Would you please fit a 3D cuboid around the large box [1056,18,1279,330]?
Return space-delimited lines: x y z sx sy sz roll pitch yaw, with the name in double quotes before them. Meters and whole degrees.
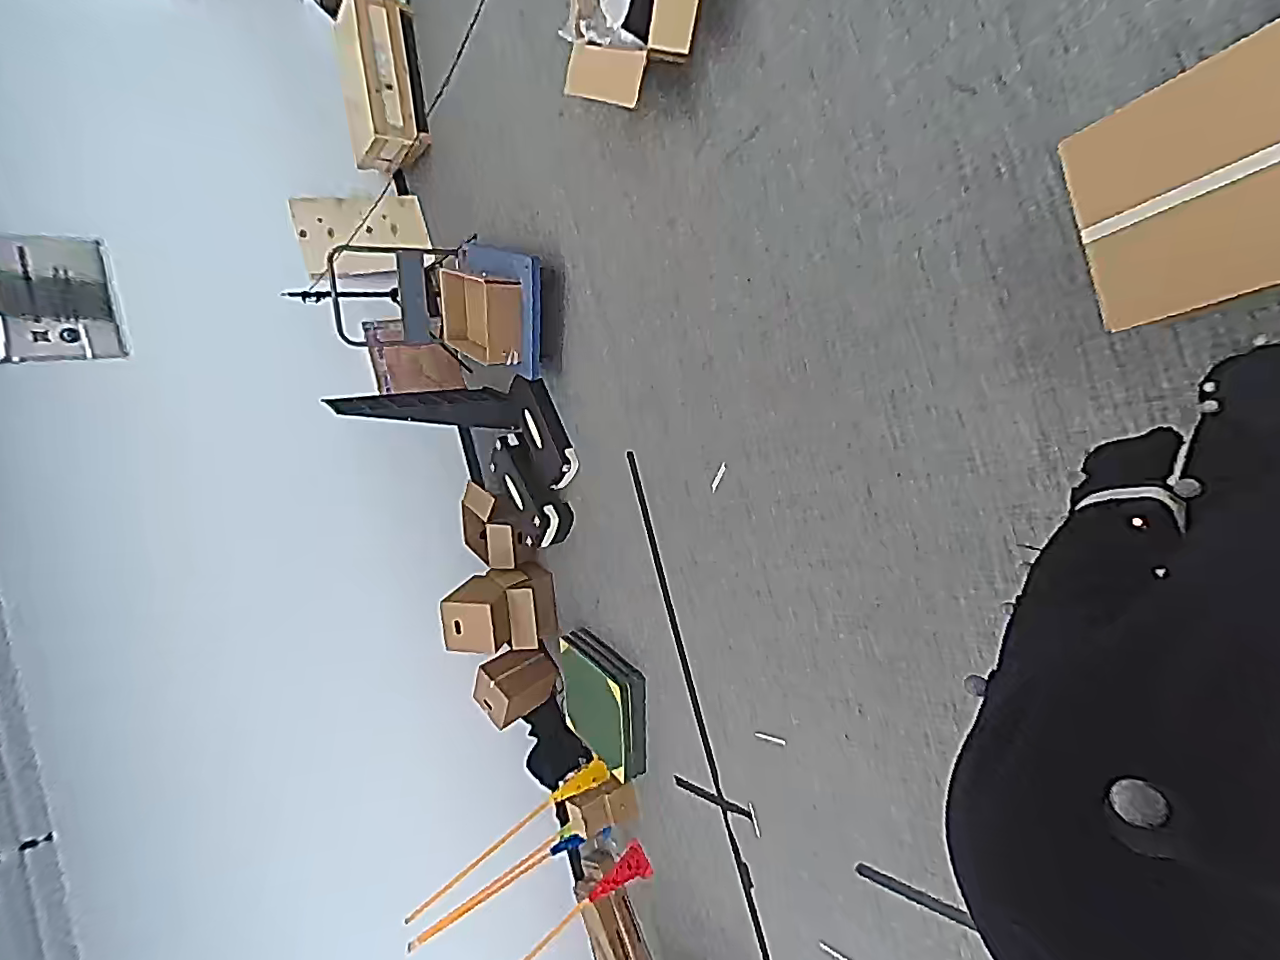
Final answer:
"large box" 0.918 -0.440 0.773 0.408 0.320 0.320 -16 89 55
